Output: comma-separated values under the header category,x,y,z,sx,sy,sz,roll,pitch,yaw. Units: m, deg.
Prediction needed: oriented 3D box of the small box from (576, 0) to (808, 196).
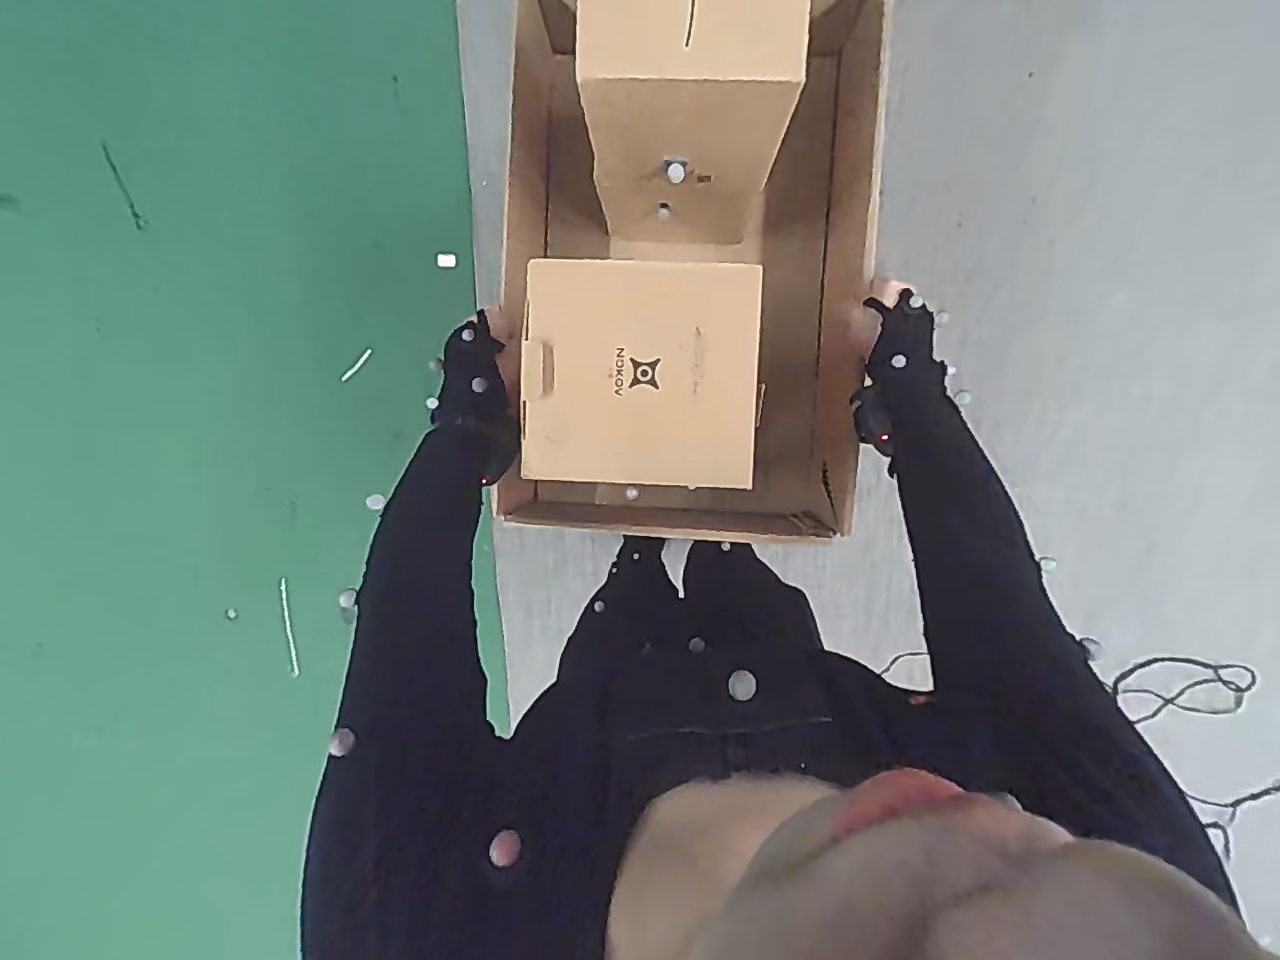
category,x,y,z,sx,sy,sz,roll,pitch,yaw
small box,0.042,-0.374,0.463,0.168,0.176,0.179,3,95,3

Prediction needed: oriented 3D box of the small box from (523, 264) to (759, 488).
category,x,y,z,sx,sy,sz,roll,pitch,yaw
small box,0.002,-0.083,0.488,0.179,0.176,0.168,2,94,2
